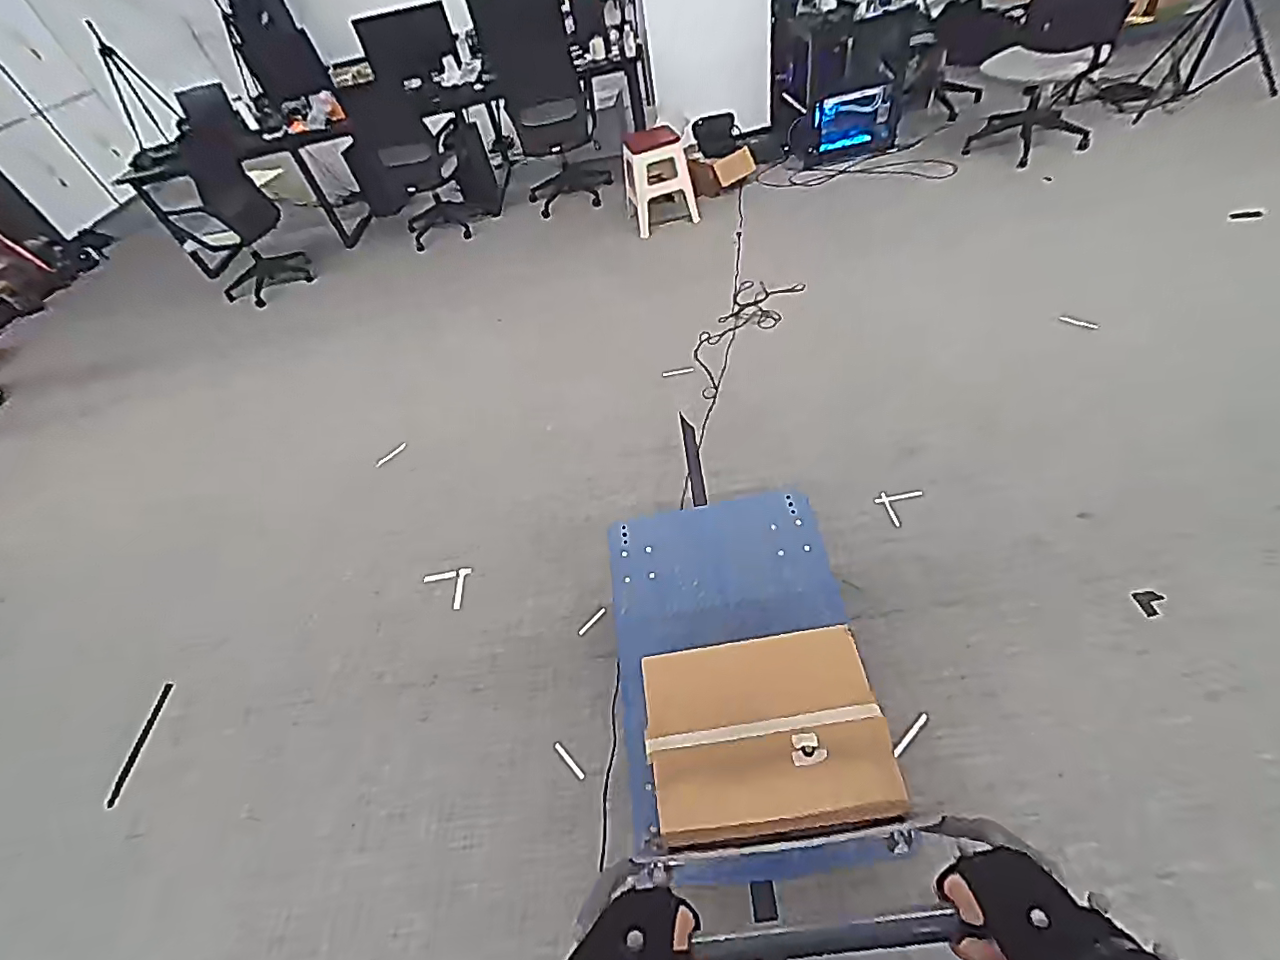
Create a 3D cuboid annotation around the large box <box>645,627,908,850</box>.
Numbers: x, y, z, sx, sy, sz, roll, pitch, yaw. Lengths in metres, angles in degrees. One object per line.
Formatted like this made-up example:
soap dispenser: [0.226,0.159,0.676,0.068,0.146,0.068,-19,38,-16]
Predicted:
large box: [0.244,0.530,1.087,0.408,0.320,0.320,-11,55,4]
